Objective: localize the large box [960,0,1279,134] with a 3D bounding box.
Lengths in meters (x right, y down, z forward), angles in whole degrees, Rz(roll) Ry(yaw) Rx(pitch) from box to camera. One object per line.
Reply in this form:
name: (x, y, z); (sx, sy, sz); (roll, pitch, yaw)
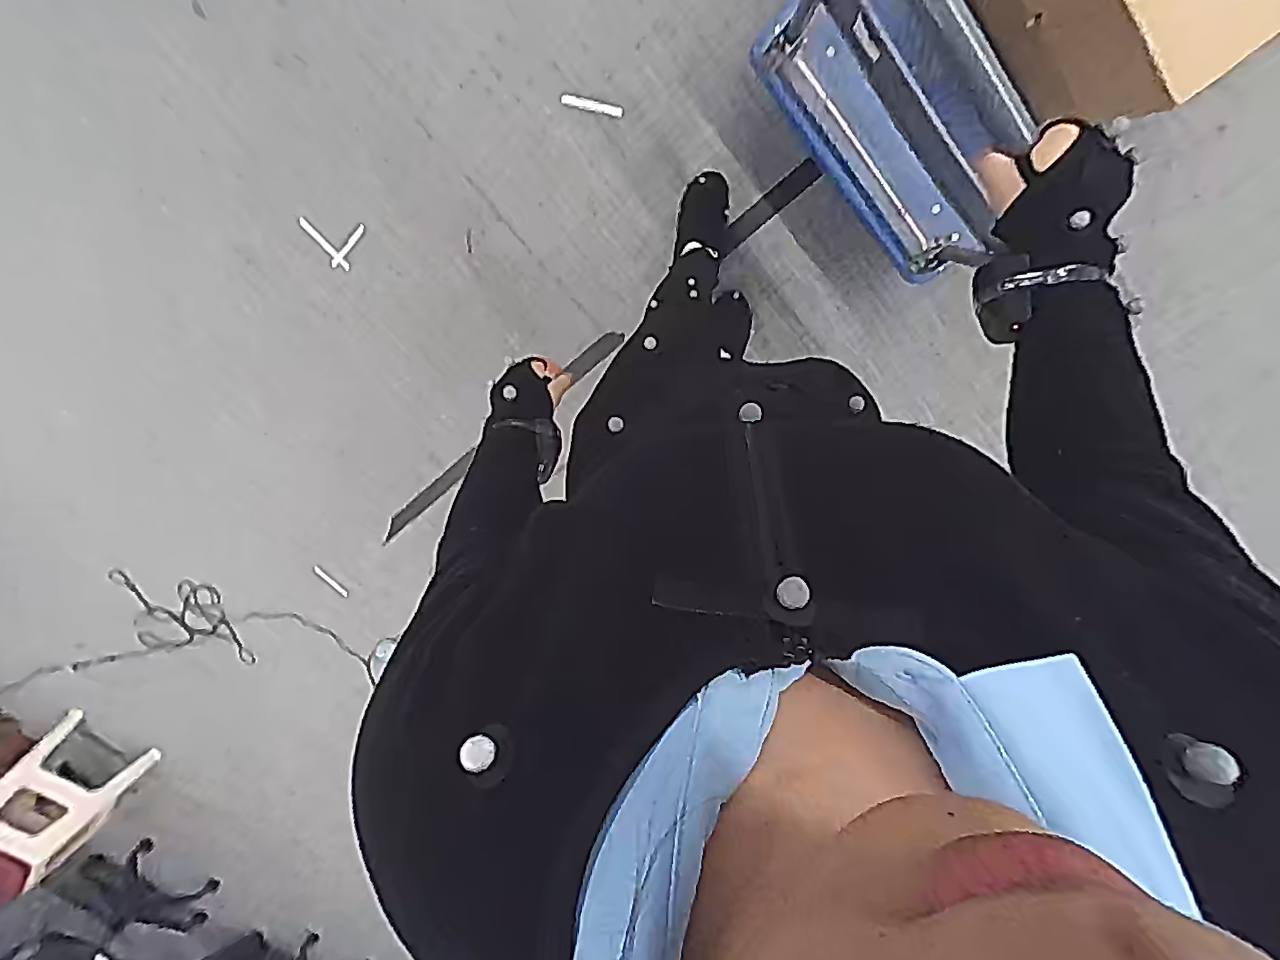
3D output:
large box: (0.720, -0.810, 0.789); (0.320, 0.320, 0.408); (-39, 105, 20)
